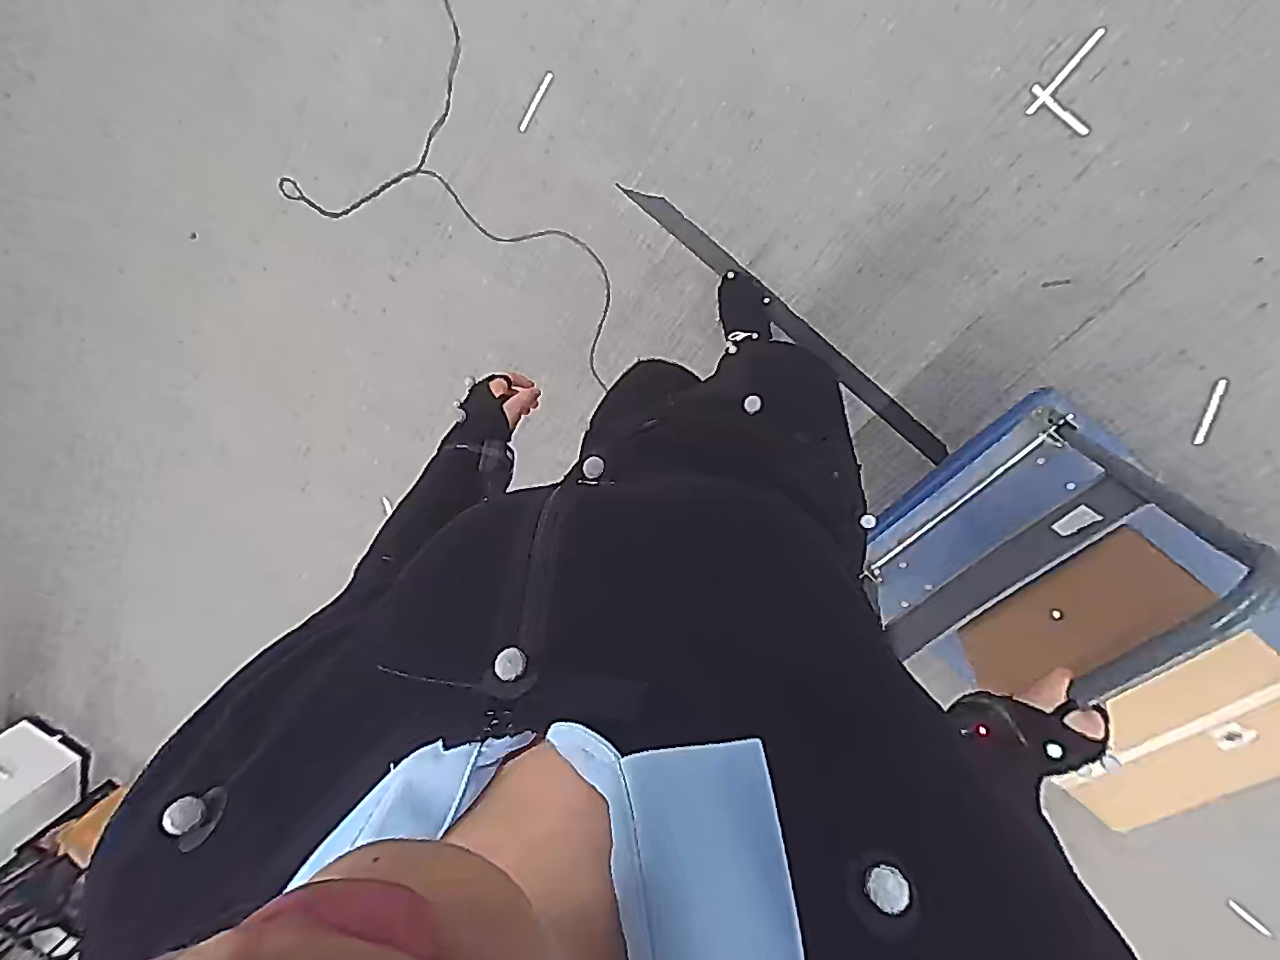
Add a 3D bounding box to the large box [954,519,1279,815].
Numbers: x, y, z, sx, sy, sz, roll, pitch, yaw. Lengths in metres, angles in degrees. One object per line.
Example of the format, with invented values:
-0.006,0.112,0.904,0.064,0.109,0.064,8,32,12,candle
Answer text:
0.933,0.356,1.074,0.320,0.320,0.408,41,115,-2,large box
